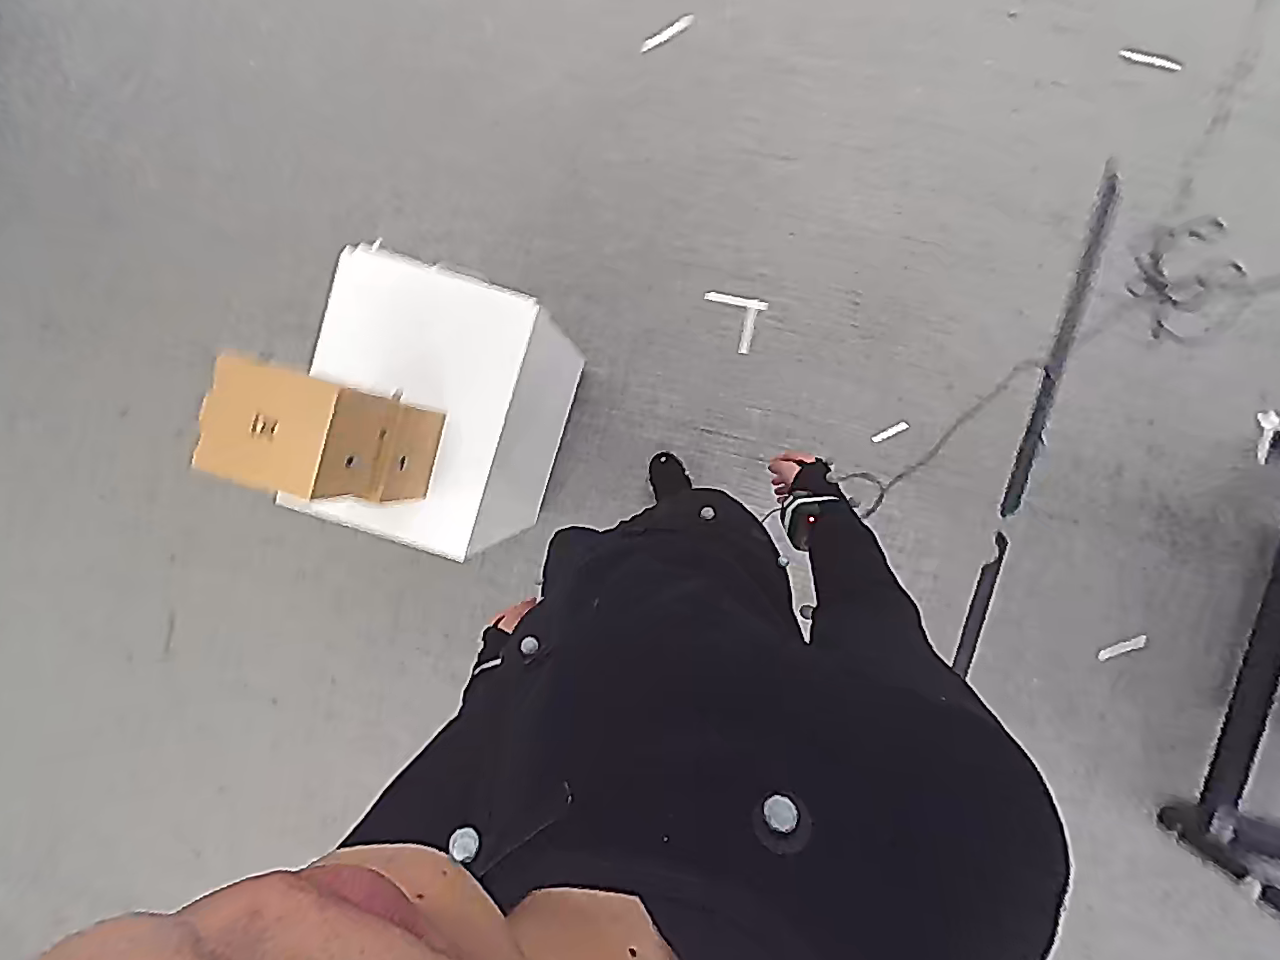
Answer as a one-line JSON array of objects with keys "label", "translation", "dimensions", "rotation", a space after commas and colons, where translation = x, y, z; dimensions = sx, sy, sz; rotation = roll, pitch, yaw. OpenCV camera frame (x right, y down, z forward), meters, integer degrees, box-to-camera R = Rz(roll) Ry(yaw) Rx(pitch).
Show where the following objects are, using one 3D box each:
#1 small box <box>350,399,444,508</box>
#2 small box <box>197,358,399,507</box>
[{"label": "small box", "translation": [-0.473, -0.060, 0.966], "dimensions": [0.168, 0.176, 0.179], "rotation": [15, 92, 2]}, {"label": "small box", "translation": [-0.492, -0.068, 0.804], "dimensions": [0.179, 0.176, 0.168], "rotation": [16, 93, 3]}]
